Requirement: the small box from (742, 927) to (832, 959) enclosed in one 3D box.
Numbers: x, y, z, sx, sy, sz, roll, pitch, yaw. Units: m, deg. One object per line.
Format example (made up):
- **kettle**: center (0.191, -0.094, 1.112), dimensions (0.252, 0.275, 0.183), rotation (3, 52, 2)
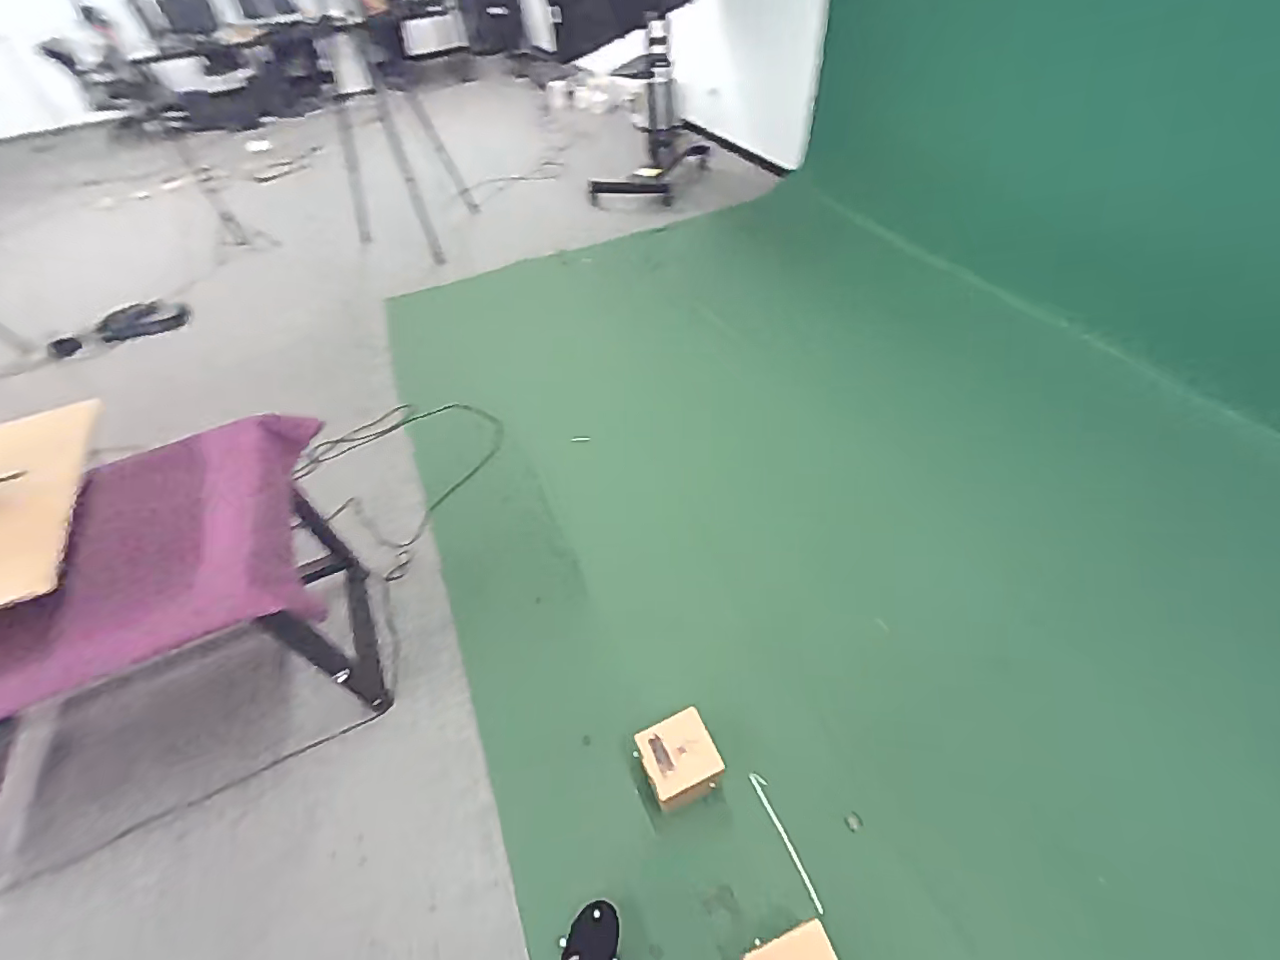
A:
- **small box**: center (0.314, 1.049, 1.105), dimensions (0.179, 0.176, 0.168), rotation (-19, 50, -10)
